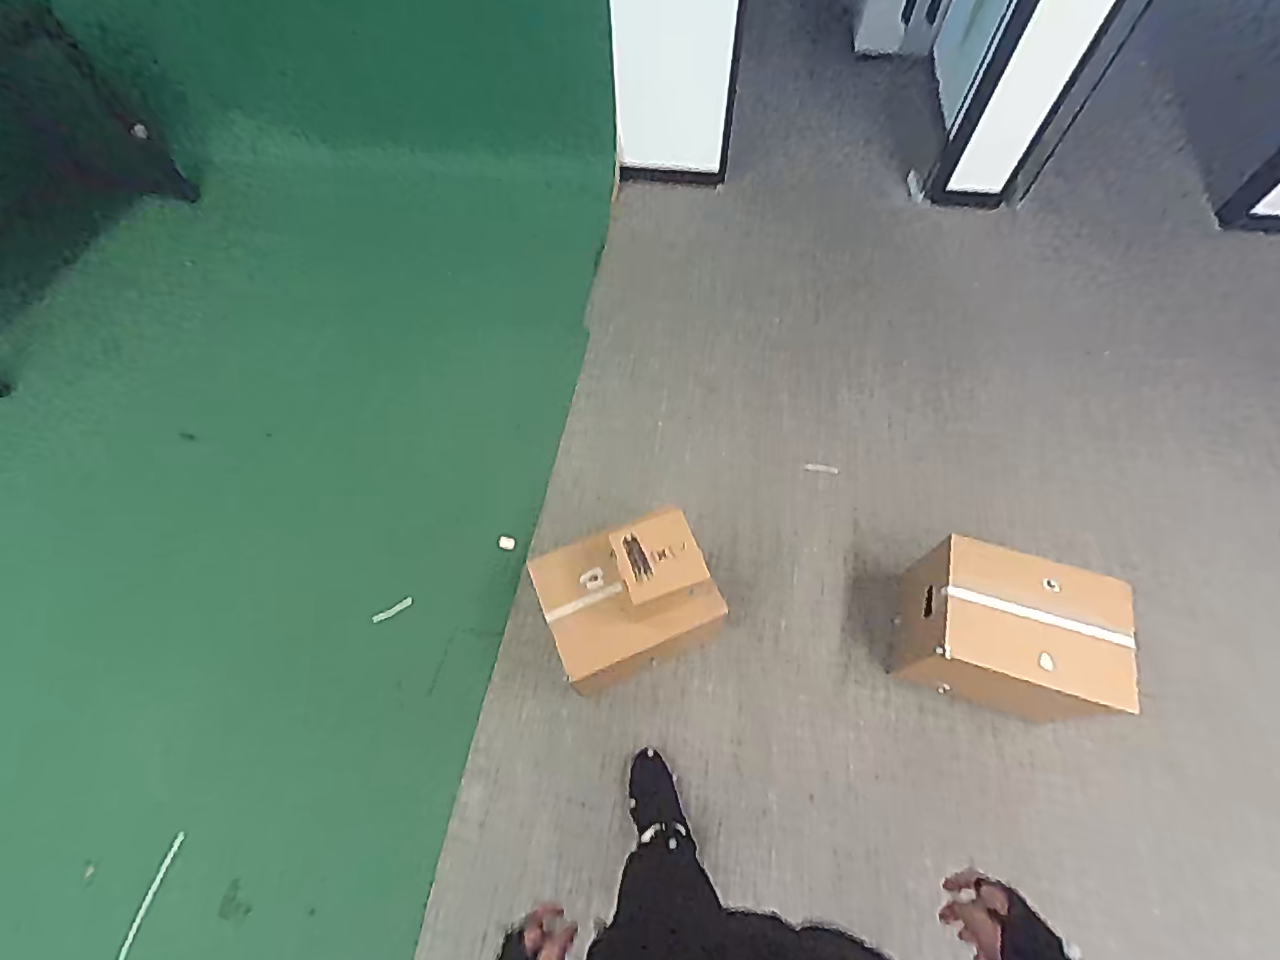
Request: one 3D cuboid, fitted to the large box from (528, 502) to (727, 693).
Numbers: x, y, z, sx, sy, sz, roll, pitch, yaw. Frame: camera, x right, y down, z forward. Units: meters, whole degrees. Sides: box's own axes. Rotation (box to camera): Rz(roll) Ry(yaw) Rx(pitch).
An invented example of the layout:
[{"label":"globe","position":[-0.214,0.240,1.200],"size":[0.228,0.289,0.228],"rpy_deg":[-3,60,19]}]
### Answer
[{"label":"large box","position":[-0.030,0.319,1.431],"size":[0.408,0.320,0.320],"rpy_deg":[-22,63,-9]}]
